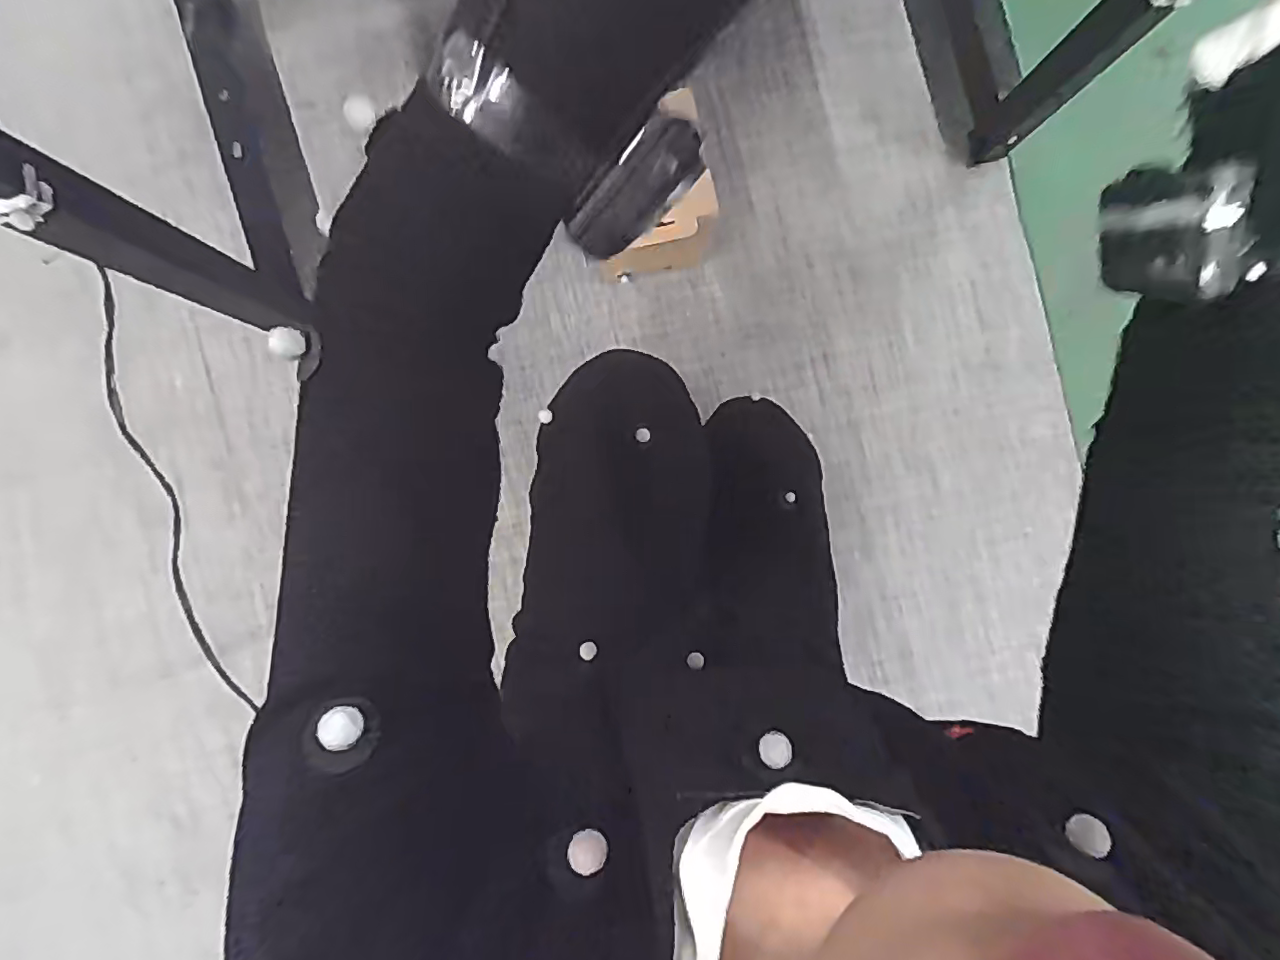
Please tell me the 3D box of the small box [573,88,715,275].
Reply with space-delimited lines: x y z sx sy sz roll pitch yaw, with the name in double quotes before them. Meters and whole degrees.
"small box" 0.006 -0.421 0.798 0.168 0.176 0.179 -12 89 -1
